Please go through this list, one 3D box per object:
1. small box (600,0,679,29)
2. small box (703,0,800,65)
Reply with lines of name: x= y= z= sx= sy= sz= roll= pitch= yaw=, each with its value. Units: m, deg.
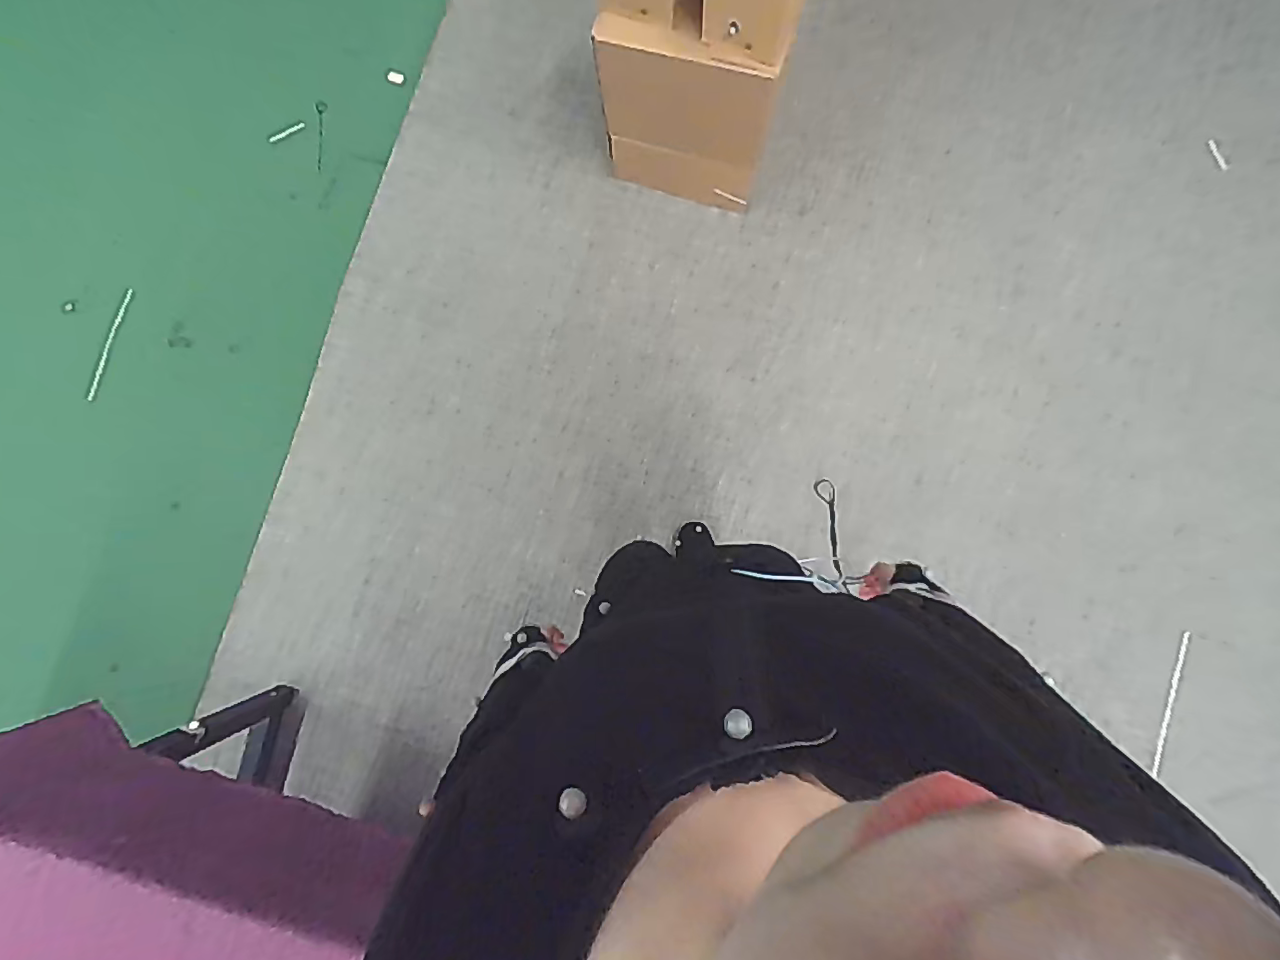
small box: x=0.009 y=-1.053 z=1.067 sx=0.168 sy=0.176 sz=0.179 roll=18 pitch=87 yaw=2
small box: x=0.226 y=-0.969 z=1.046 sx=0.168 sy=0.176 sz=0.179 roll=23 pitch=87 yaw=6
